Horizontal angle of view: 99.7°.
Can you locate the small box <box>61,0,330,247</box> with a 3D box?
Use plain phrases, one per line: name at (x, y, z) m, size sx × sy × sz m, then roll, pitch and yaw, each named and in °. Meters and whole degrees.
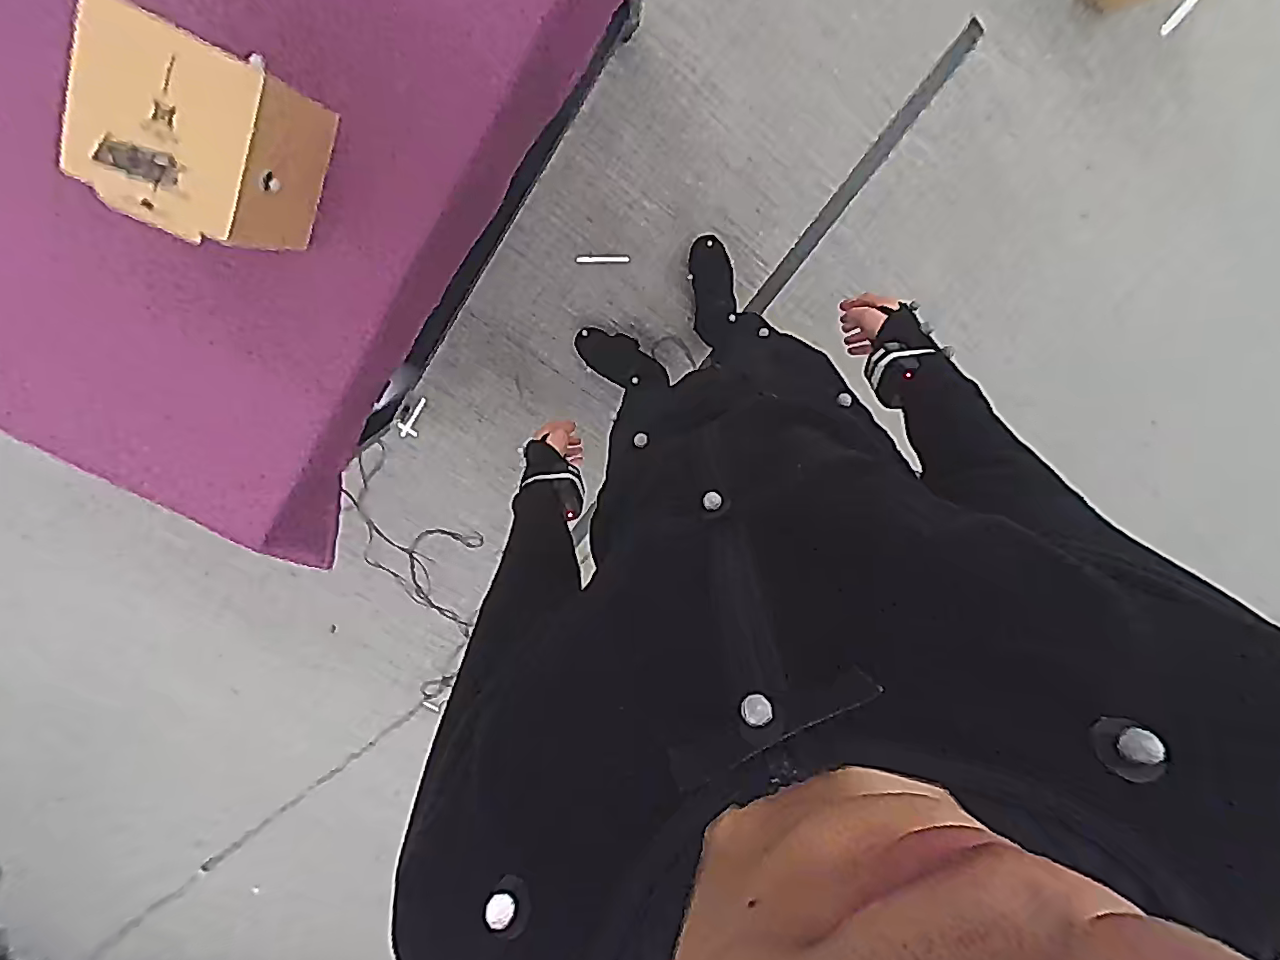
small box at (-0.487, -0.383, 0.616) m, size 0.168 × 0.176 × 0.179 m, roll 22°, pitch 108°, yaw -12°
